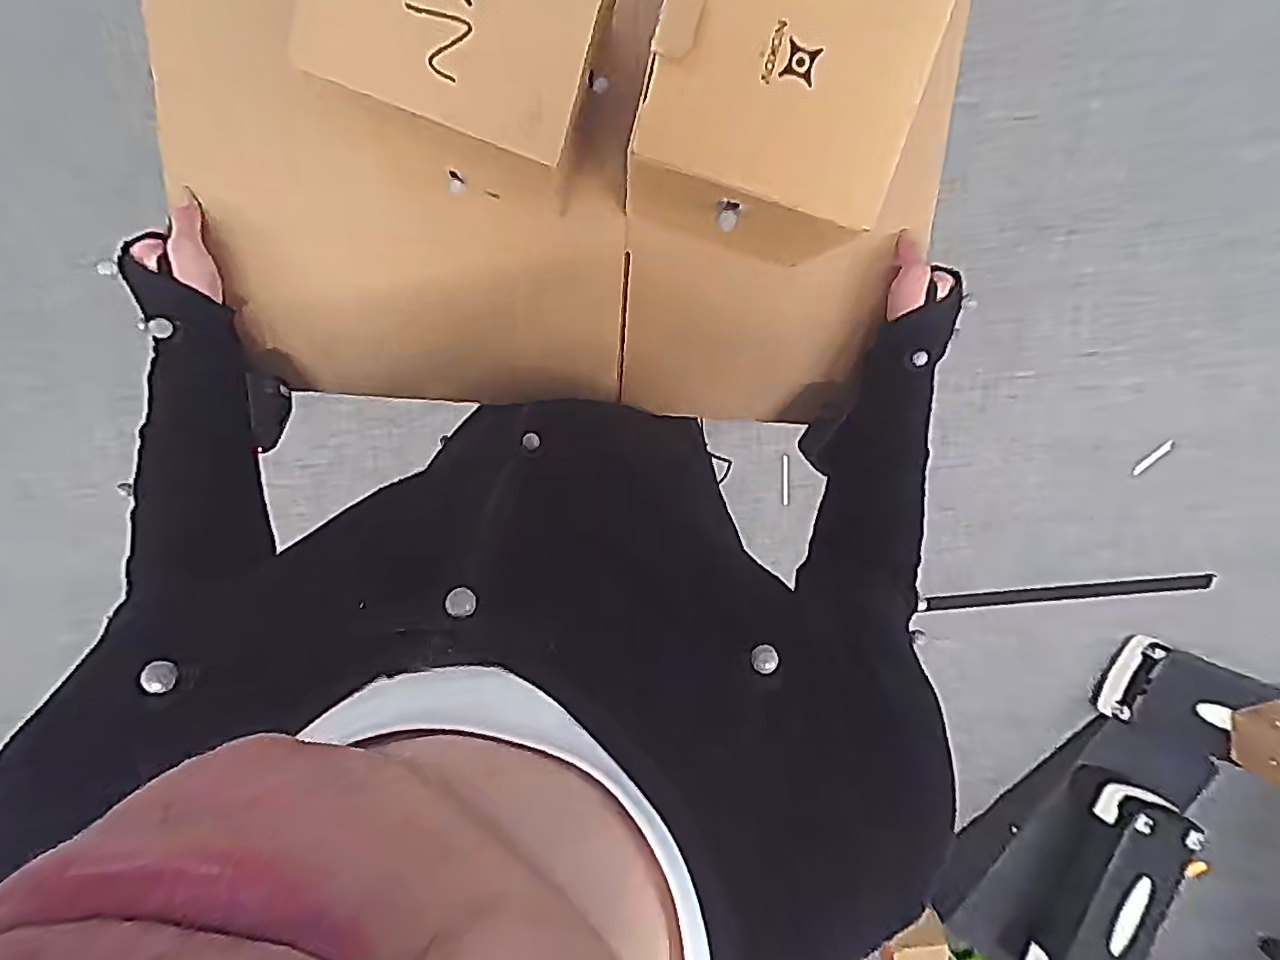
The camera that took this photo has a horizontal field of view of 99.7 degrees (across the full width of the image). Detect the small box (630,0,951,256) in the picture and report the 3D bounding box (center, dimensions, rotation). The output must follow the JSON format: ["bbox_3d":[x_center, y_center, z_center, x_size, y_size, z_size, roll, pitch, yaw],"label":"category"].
[{"bbox_3d":[0.097,-0.293,0.434,0.179,0.176,0.168,16,103,-4],"label":"small box"}]
